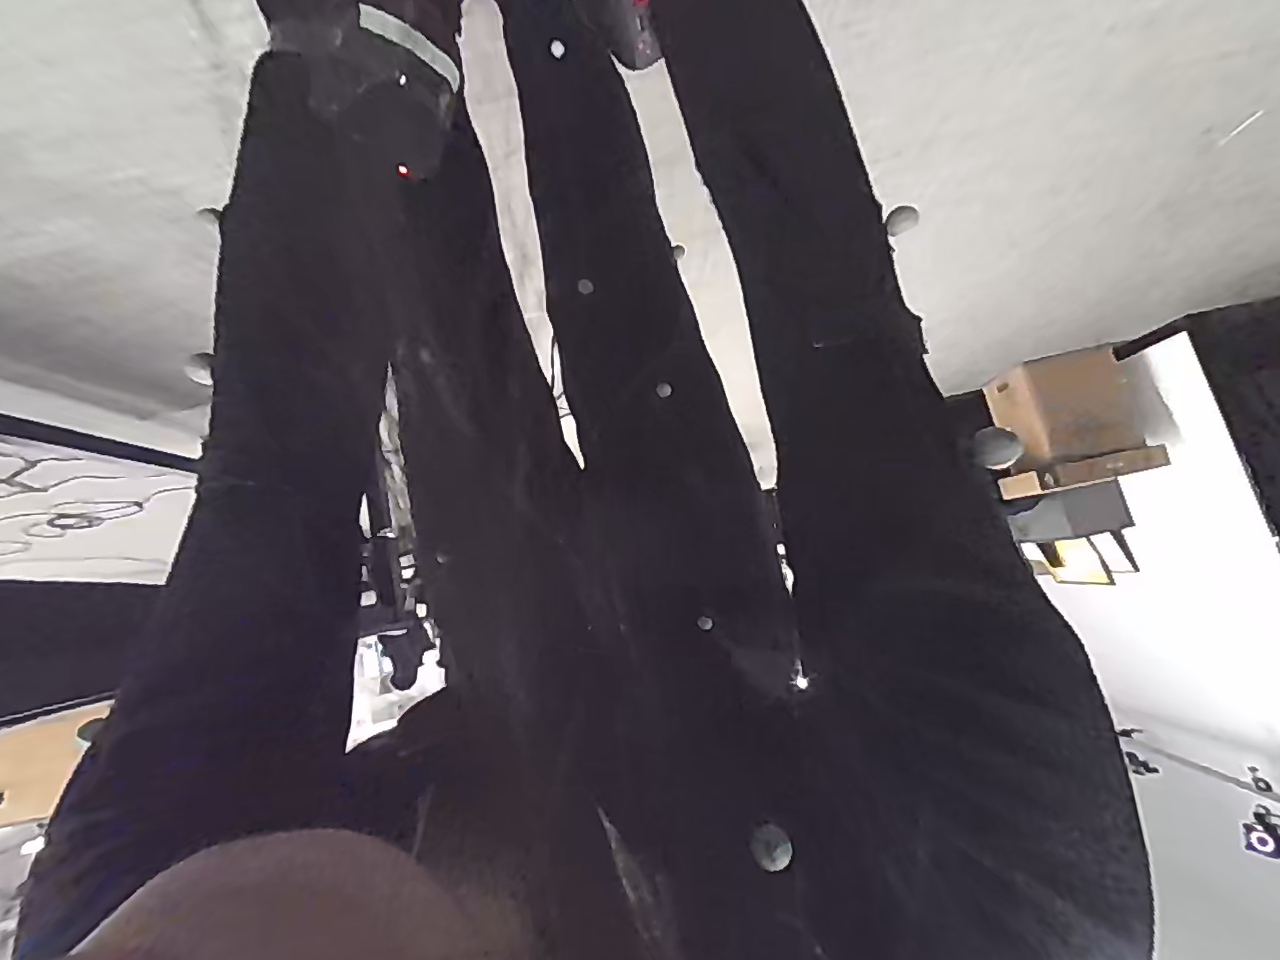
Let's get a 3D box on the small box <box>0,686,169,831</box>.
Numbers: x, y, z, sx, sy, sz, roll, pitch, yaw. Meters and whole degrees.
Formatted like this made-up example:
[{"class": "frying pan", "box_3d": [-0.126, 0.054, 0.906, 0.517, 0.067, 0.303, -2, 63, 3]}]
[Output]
[{"class": "small box", "box_3d": [-0.957, 0.463, 0.920, 0.179, 0.176, 0.168, -12, 171, 2]}]
